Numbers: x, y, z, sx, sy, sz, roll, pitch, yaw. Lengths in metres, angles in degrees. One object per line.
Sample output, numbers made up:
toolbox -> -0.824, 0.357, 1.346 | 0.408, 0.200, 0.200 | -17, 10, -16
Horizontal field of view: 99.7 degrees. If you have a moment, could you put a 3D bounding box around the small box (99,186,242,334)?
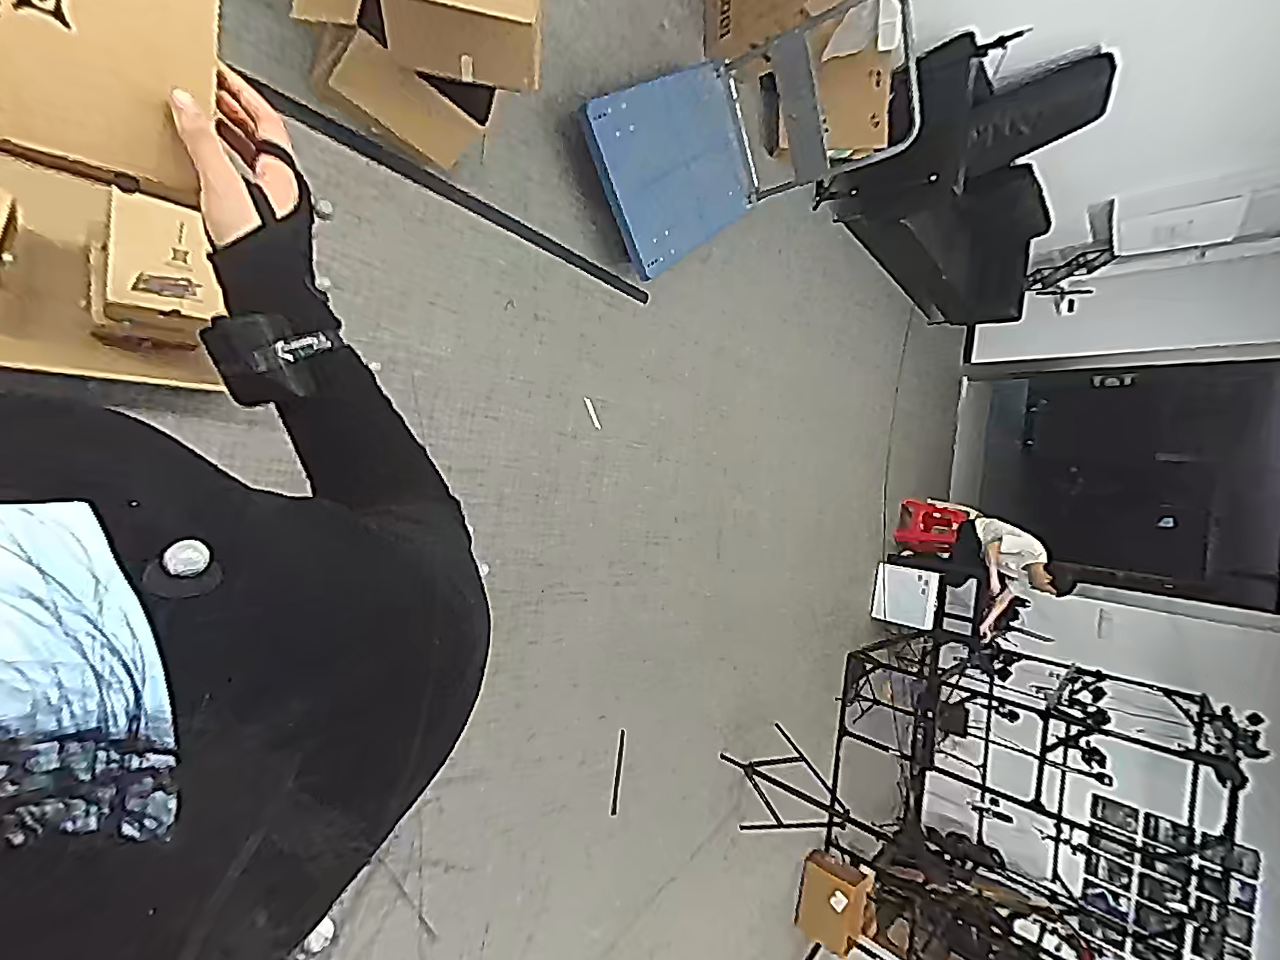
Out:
small box -> -0.805, -0.359, 0.926 | 0.168, 0.176, 0.179 | 3, 91, -47

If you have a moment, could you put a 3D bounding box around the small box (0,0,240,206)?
small box -> -0.383, -0.307, 0.352 | 0.179, 0.176, 0.168 | 1, 118, -43

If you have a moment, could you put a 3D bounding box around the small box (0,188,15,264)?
small box -> -1.115, -0.390, 0.834 | 0.168, 0.176, 0.179 | 18, 81, -48
